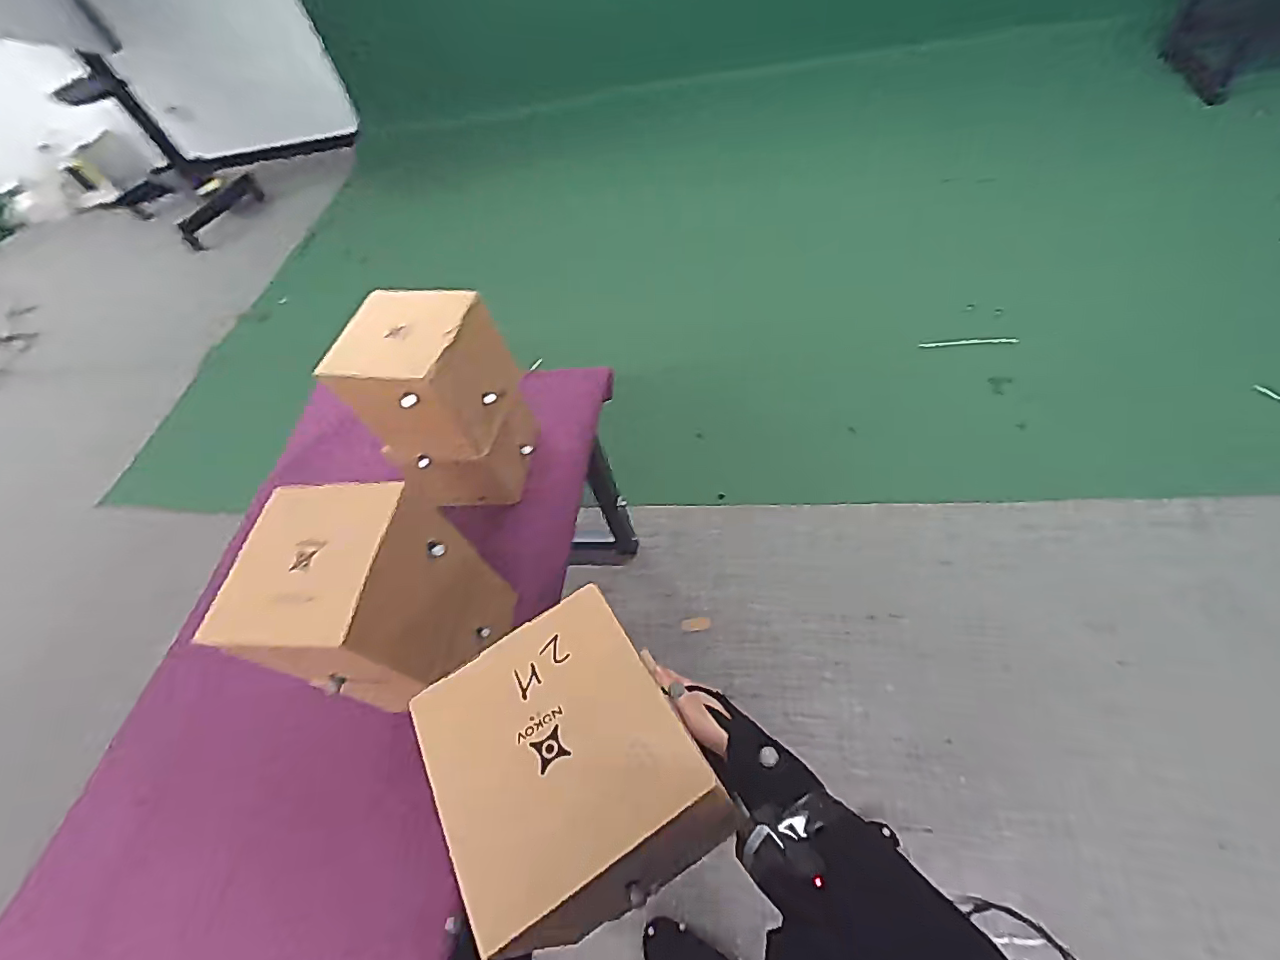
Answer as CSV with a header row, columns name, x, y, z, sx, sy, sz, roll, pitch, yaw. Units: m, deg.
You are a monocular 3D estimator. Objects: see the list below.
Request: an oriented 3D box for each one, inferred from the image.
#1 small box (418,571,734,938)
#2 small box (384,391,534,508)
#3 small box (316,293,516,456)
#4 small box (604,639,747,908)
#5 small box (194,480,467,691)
name,x,y,z,sx,sy,sz,roll,pitch,yaw
small box,-0.042,0.213,0.429,0.168,0.176,0.179,-31,50,-9
small box,-0.297,-0.069,0.932,0.168,0.176,0.179,-3,55,13
small box,-0.311,-0.150,0.789,0.179,0.176,0.168,5,58,16
small box,-0.006,0.306,0.560,0.179,0.176,0.168,-29,49,-9
small box,-0.317,0.119,0.600,0.168,0.176,0.179,-2,55,14
